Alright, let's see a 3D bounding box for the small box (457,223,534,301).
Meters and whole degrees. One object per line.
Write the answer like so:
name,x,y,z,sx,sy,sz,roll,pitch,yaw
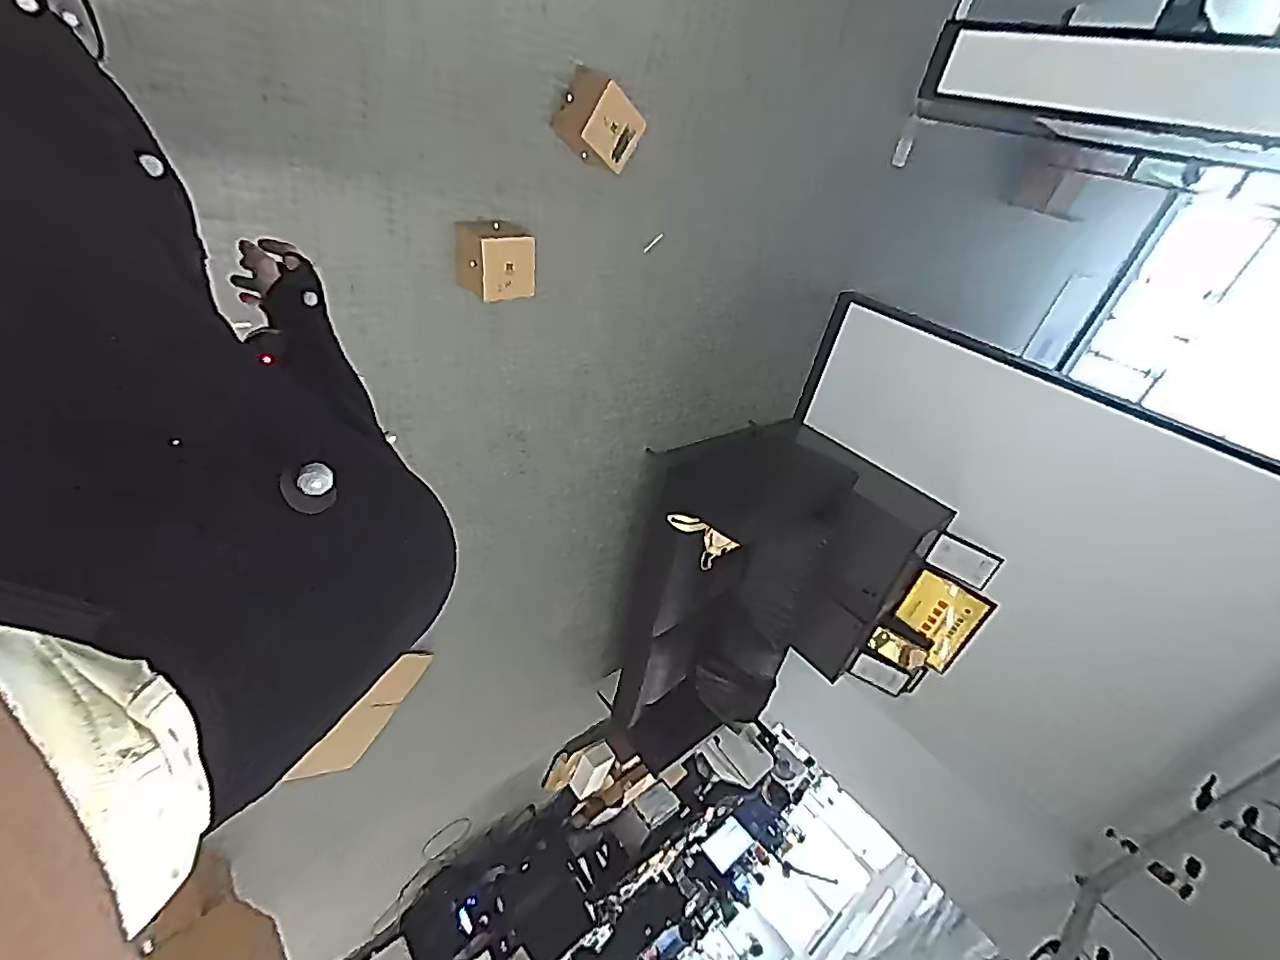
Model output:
small box,-0.427,-0.647,1.590,0.168,0.176,0.179,-21,136,-34
